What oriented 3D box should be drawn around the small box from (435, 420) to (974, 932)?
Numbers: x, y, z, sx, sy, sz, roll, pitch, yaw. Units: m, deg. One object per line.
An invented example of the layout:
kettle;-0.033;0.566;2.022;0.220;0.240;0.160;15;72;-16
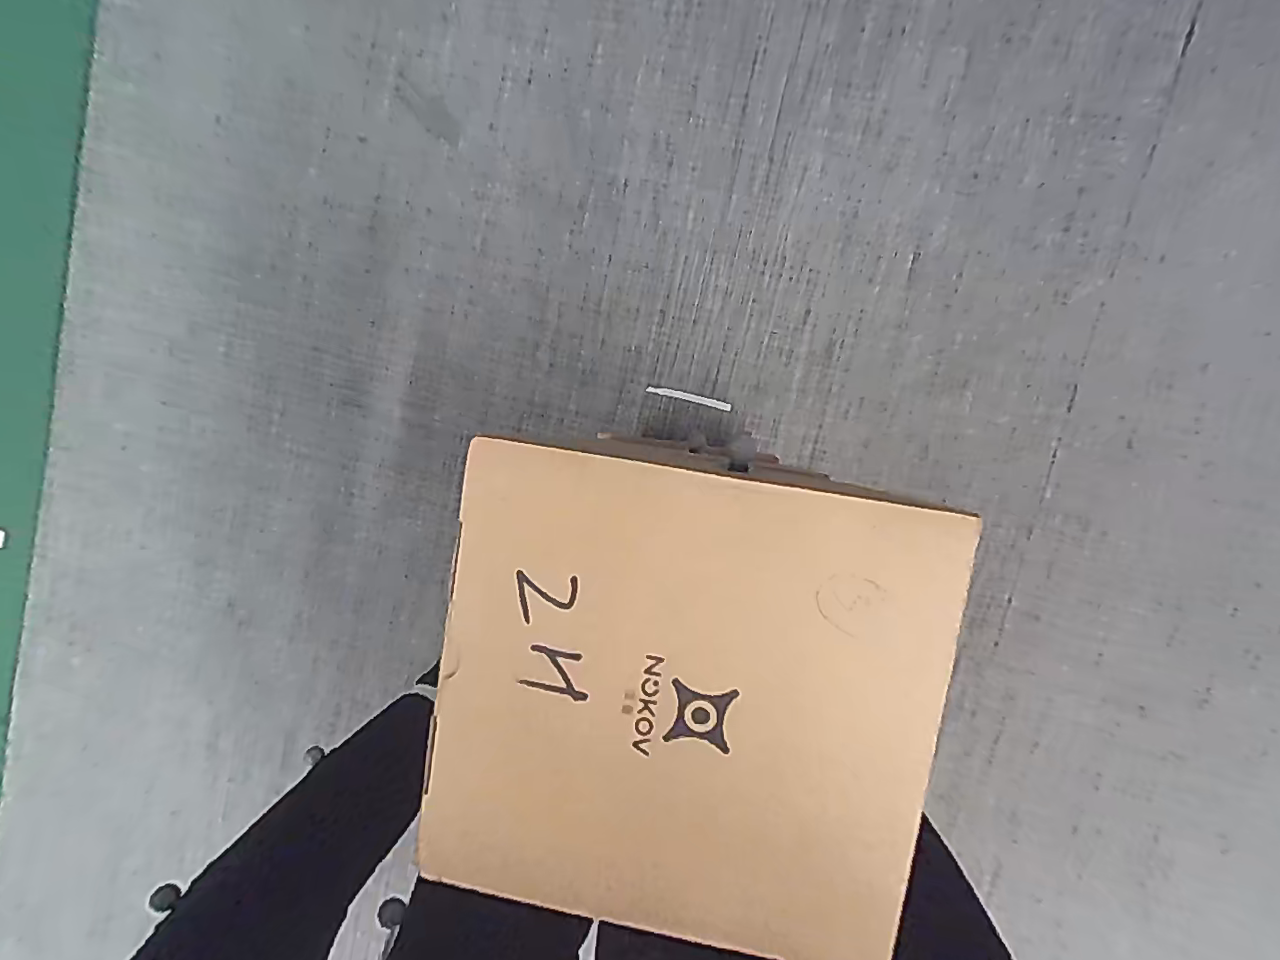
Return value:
small box;0.025;0.066;0.277;0.179;0.176;0.168;10;94;6
